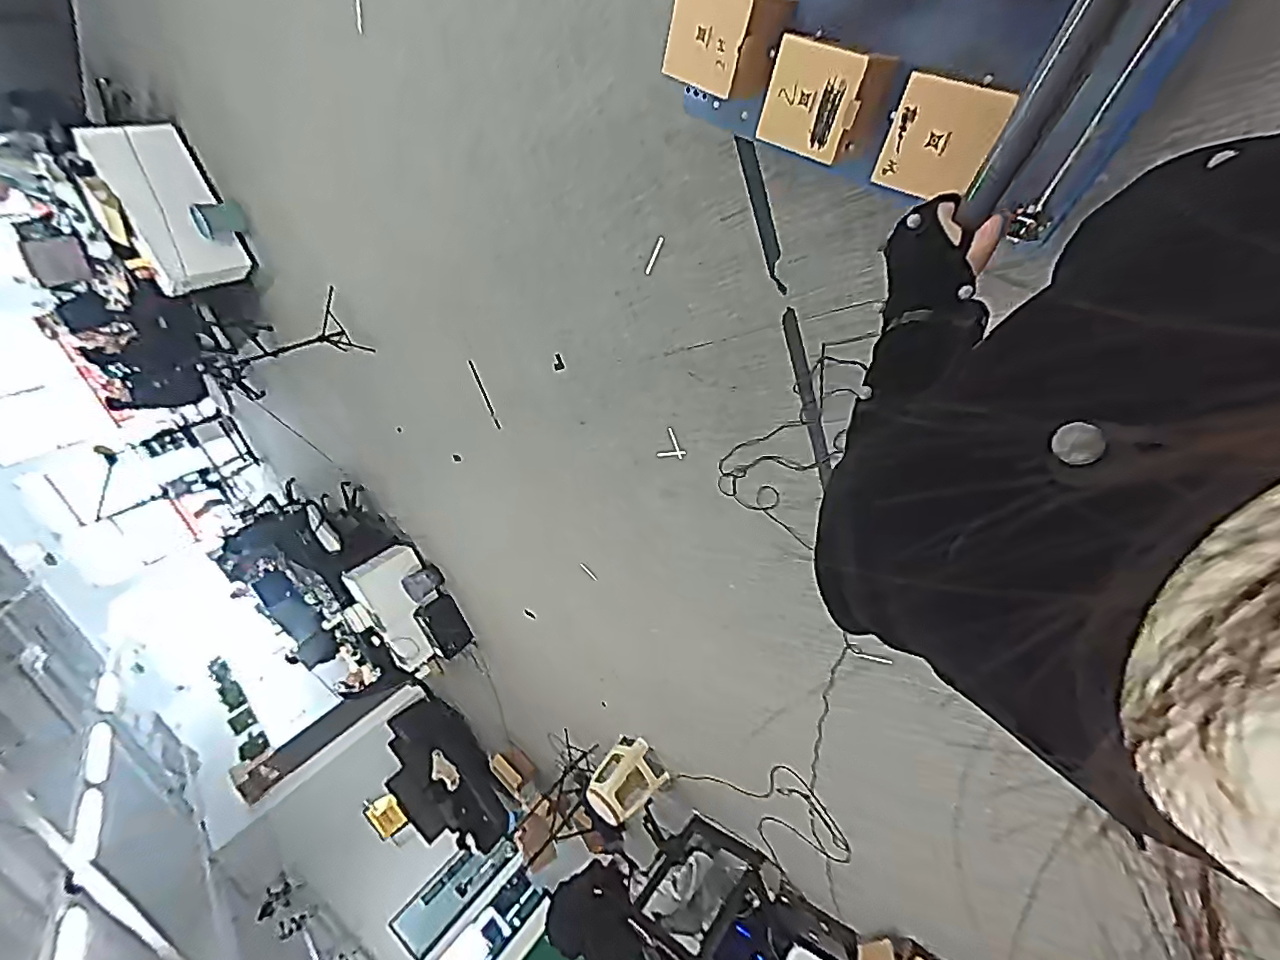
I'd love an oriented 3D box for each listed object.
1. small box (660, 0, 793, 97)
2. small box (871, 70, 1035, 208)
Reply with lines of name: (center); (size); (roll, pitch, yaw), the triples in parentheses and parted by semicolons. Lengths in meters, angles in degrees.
small box: (0.173, -0.896, 1.090); (0.179, 0.176, 0.168); (37, 139, 19)
small box: (0.545, -0.598, 0.942); (0.179, 0.176, 0.168); (33, 137, 23)
